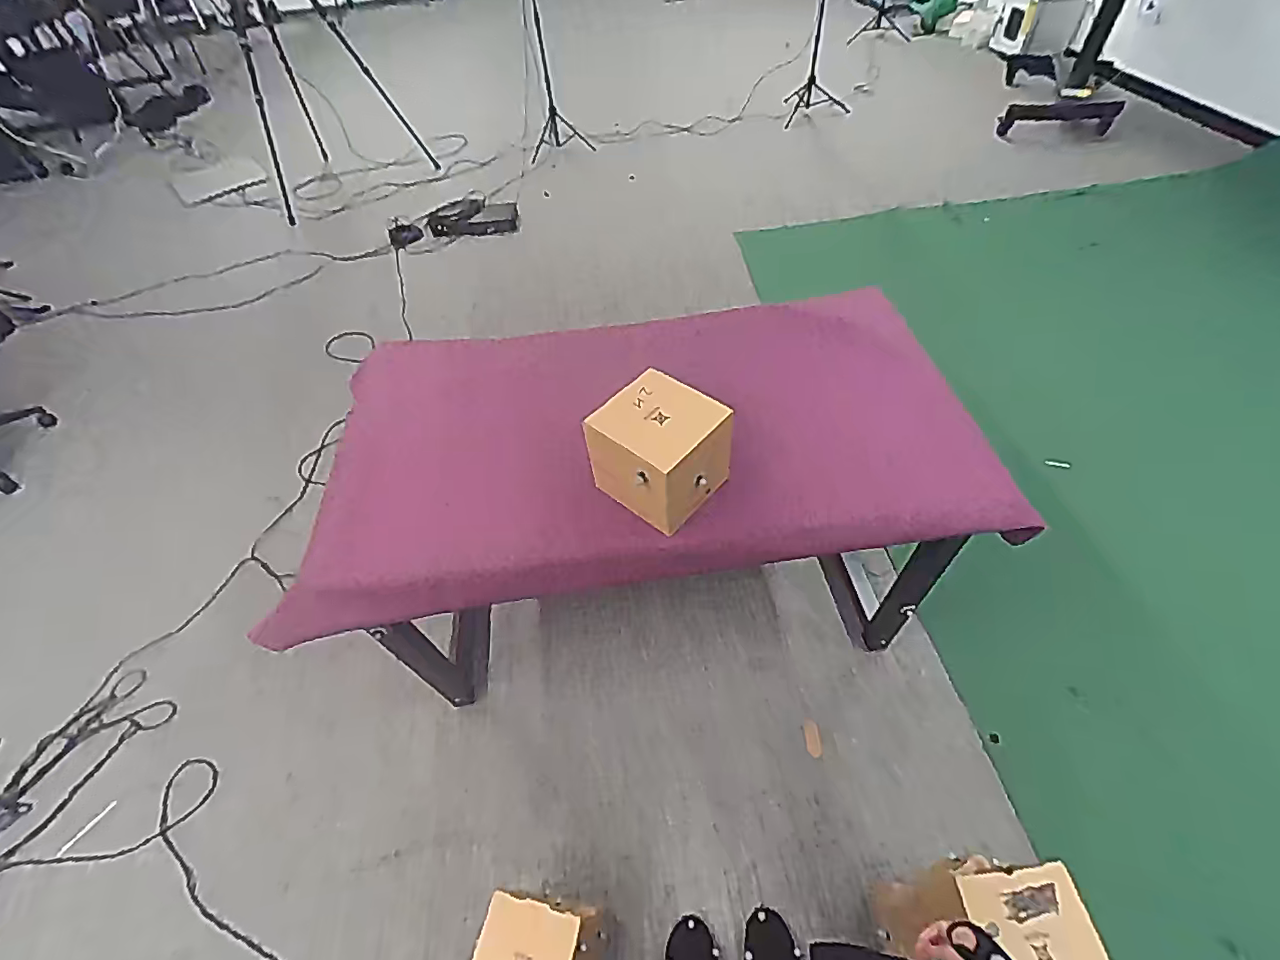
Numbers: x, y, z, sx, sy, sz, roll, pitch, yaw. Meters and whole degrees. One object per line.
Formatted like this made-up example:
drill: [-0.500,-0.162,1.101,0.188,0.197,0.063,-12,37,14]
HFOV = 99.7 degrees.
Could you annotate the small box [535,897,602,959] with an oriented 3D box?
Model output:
small box: [-0.176,0.946,1.070,0.168,0.176,0.179,4,53,9]

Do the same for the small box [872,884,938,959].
small box: [0.565,0.896,1.047,0.179,0.176,0.168,0,52,5]

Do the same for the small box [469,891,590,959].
small box: [-0.195,0.849,0.942,0.168,0.176,0.179,8,52,12]

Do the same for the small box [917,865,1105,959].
small box: [0.542,0.686,0.795,0.168,0.176,0.179,-6,53,-1]

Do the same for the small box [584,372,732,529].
small box: [0.034,-0.043,0.904,0.179,0.176,0.168,33,60,28]
